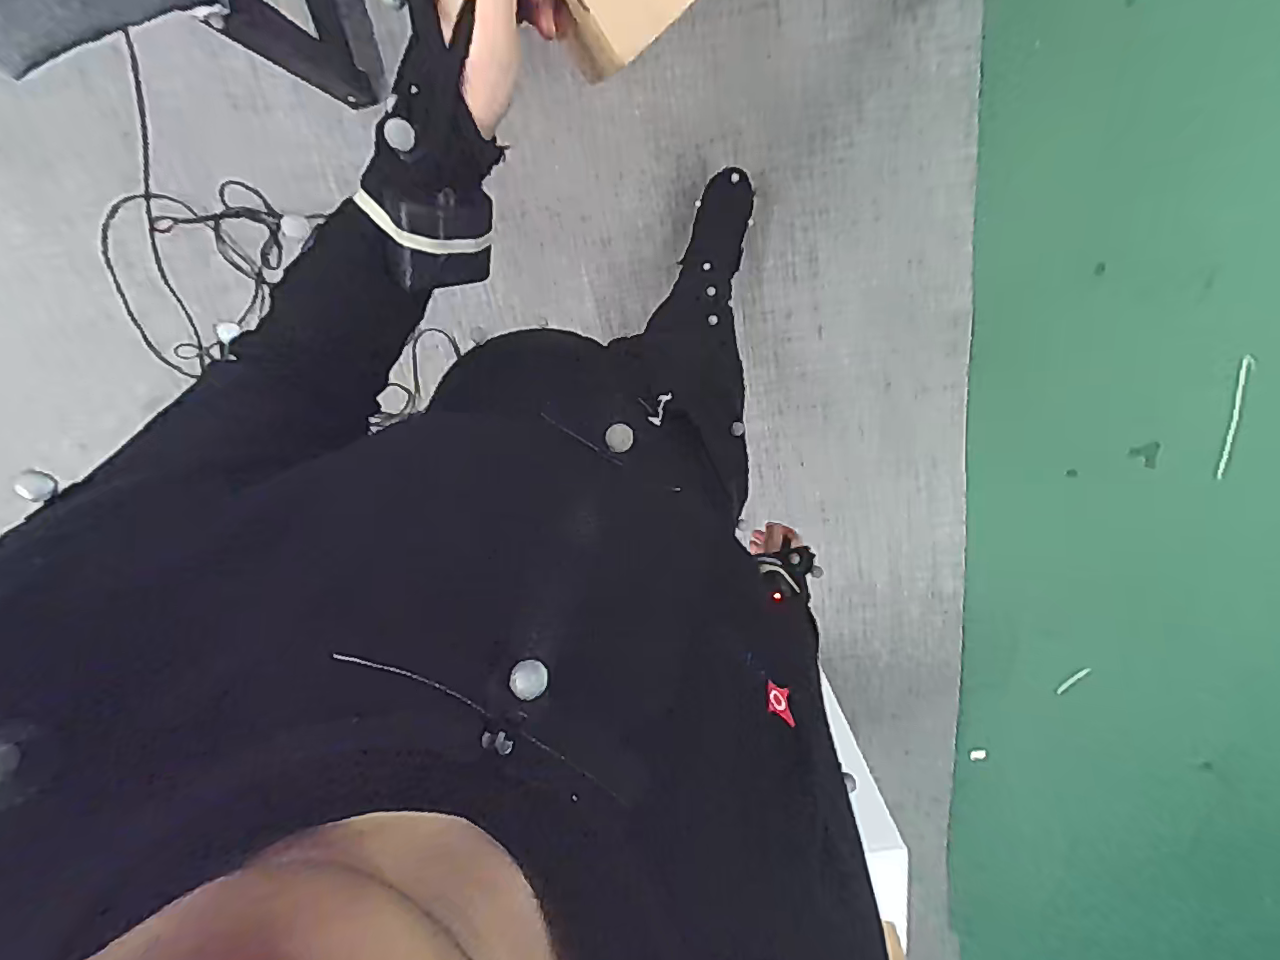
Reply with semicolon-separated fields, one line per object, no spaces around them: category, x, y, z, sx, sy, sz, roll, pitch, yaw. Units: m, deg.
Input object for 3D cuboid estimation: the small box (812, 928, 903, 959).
small box;0.440;1.015;1.044;0.168;0.176;0.179;-8;109;3
